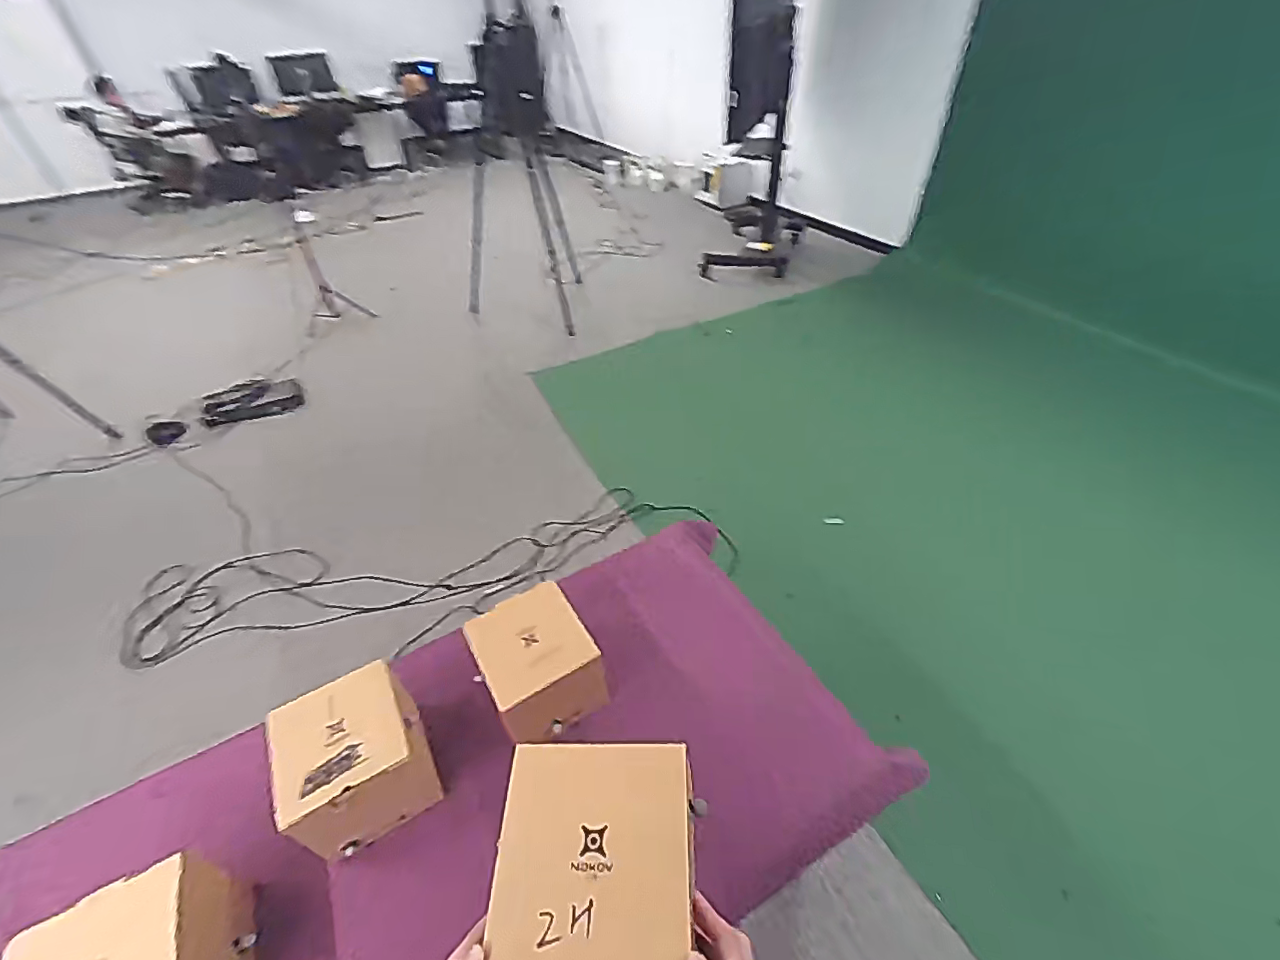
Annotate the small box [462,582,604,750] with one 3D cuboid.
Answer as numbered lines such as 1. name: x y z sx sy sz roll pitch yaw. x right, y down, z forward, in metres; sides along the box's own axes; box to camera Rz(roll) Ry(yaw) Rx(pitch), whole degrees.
1. small box: -0.174 0.311 0.904 0.168 0.176 0.179 -25 47 -21

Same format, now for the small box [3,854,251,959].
1. small box: -0.578 0.584 0.618 0.168 0.176 0.179 -23 45 -19

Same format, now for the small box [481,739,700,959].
1. small box: -0.029 0.368 0.516 0.168 0.176 0.179 -2 48 7

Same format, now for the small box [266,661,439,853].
1. small box: -0.419 0.414 0.802 0.168 0.176 0.179 -24 46 -22
